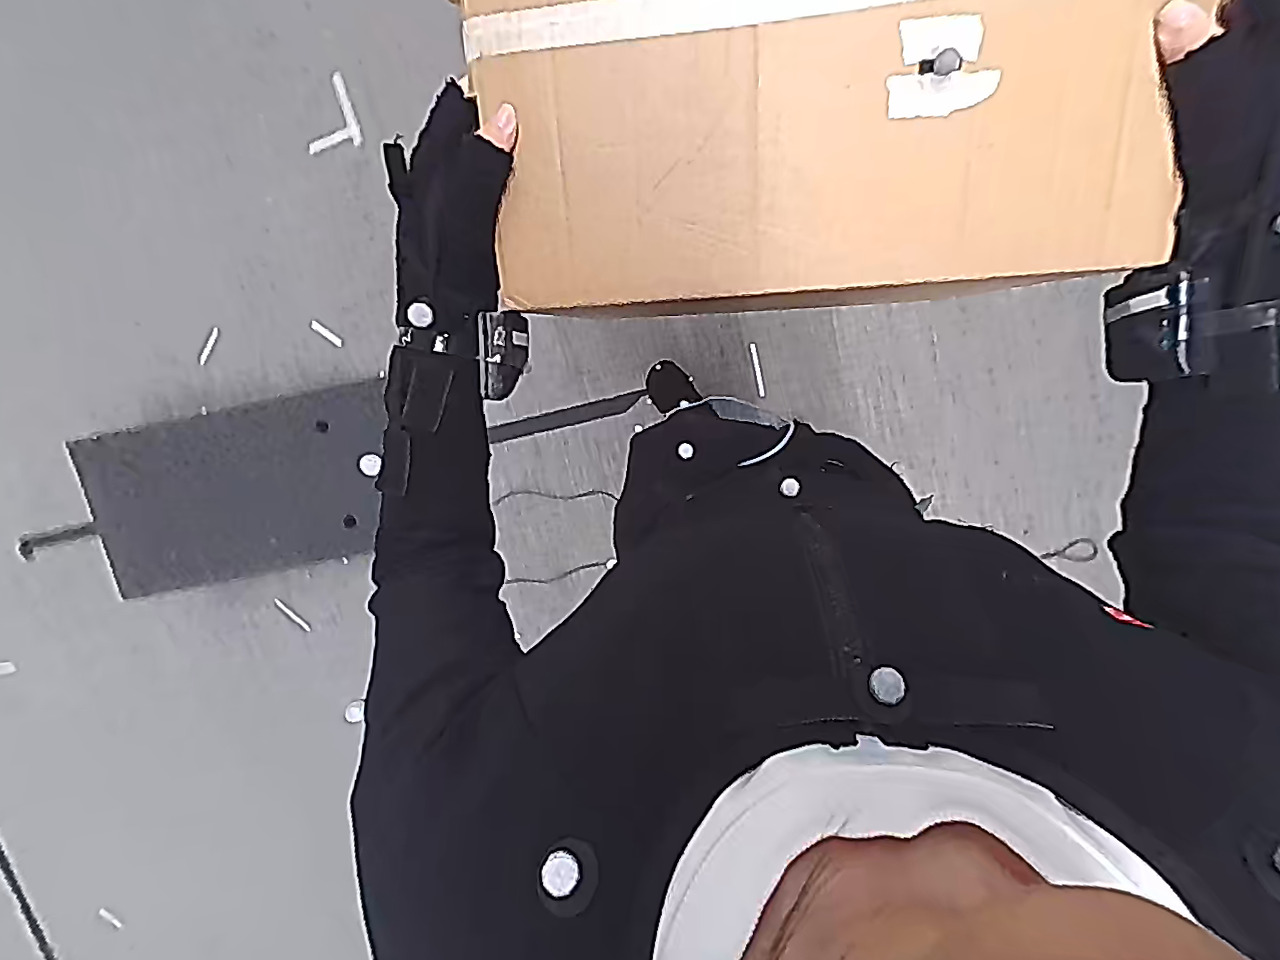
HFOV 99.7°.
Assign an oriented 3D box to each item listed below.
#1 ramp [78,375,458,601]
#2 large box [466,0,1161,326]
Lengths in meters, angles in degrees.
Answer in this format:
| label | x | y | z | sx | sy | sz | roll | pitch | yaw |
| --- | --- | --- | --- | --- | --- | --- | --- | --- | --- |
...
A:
| label | x | y | z | sx | sy | sz | roll | pitch | yaw |
| --- | --- | --- | --- | --- | --- | --- | --- | --- | --- |
| ramp | -1.072 | 0.027 | 1.579 | 0.991 | 0.206 | 0.509 | -12 | 97 | 10 |
| large box | 0.104 | -0.315 | 0.463 | 0.408 | 0.320 | 0.320 | -3 | 105 | 6 |
